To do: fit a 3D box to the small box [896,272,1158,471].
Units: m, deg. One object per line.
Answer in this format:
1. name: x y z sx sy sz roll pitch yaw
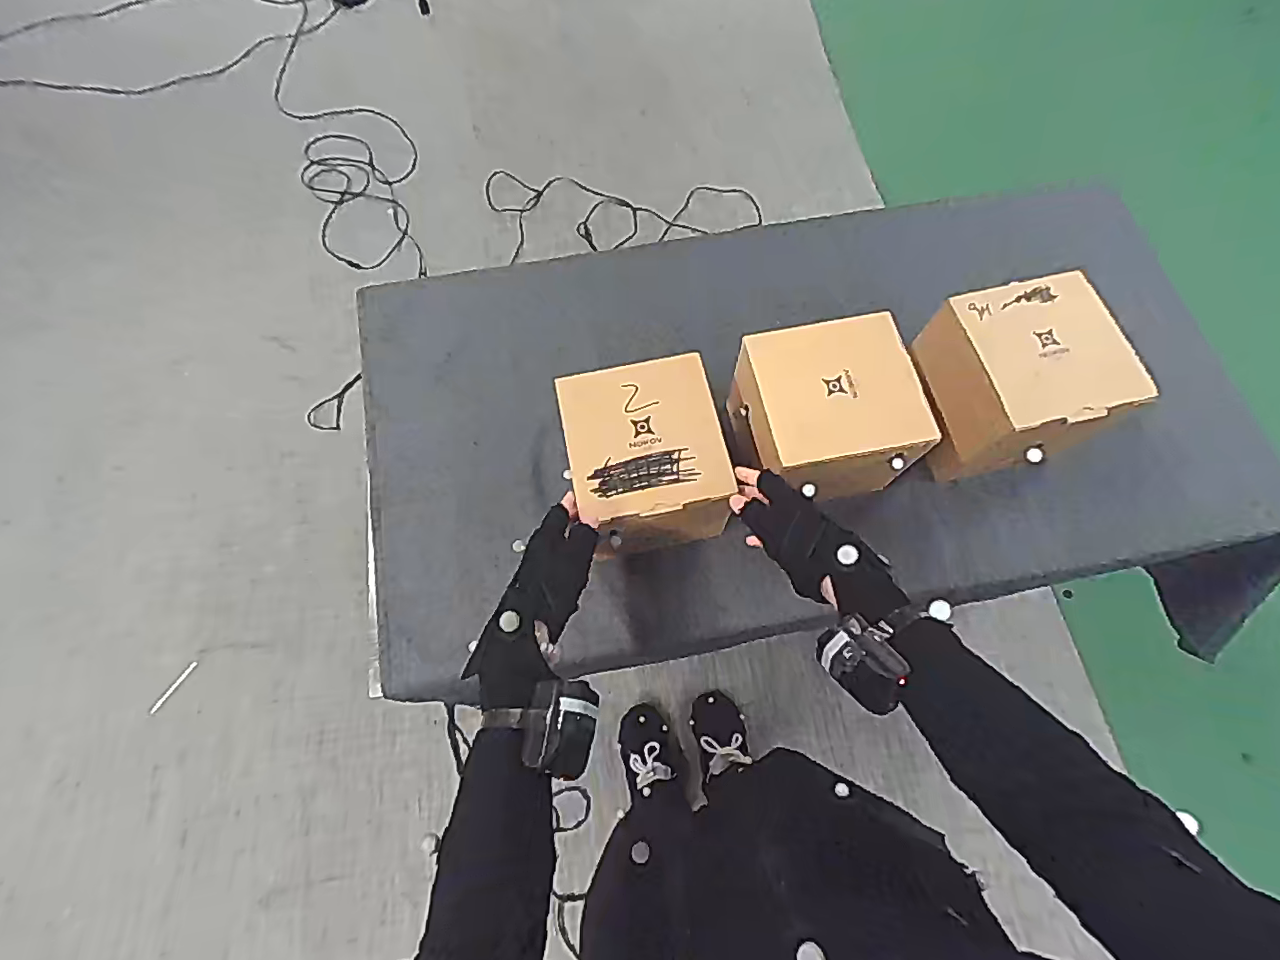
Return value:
1. small box: 0.454 -0.121 0.669 0.168 0.176 0.179 -11 71 -4
